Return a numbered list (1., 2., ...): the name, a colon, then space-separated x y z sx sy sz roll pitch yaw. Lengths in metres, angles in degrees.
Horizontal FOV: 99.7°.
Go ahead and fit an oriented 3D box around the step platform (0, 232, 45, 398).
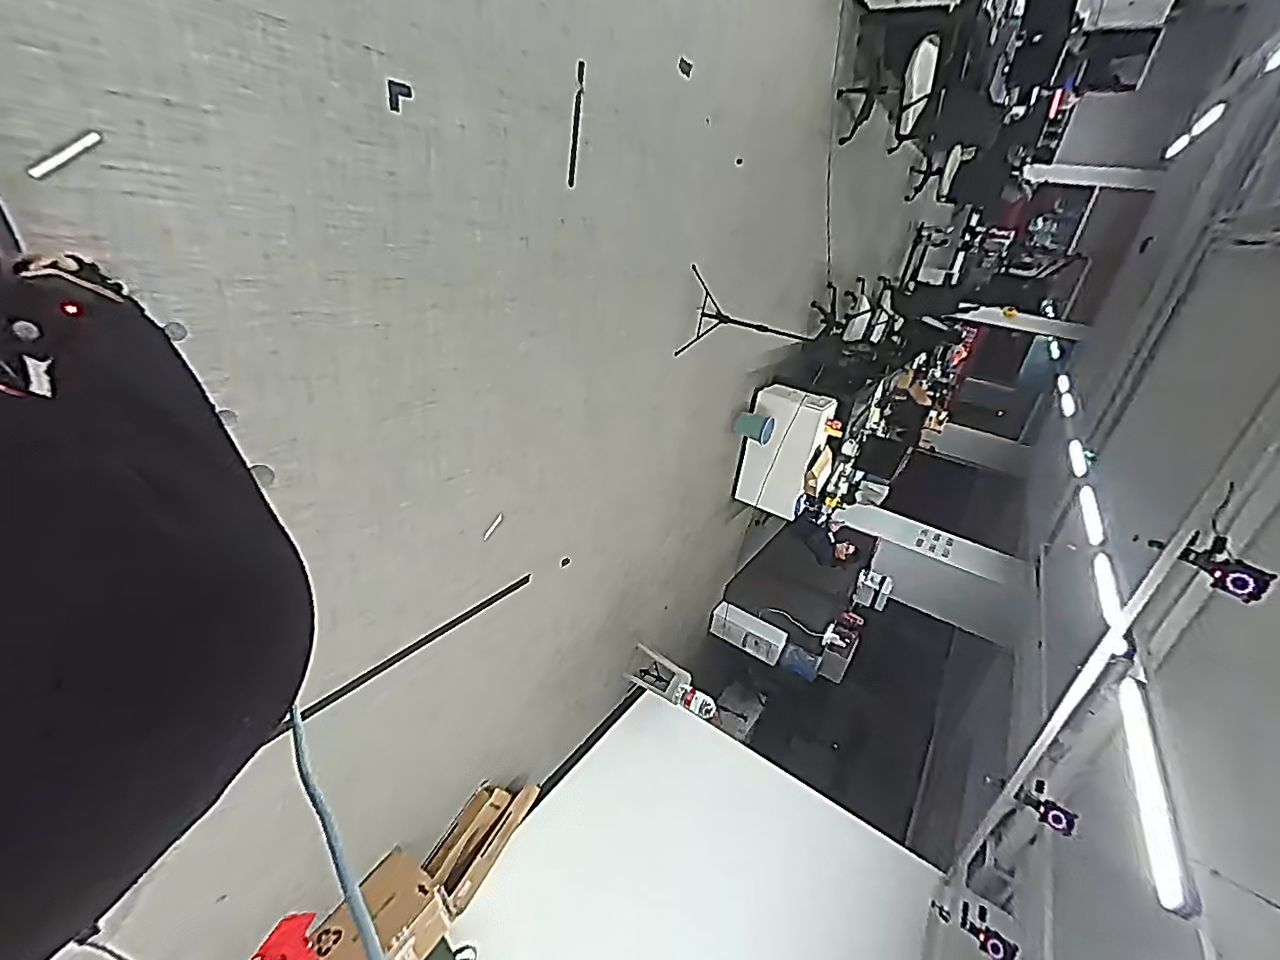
1. step platform: -1.301 -0.239 0.719 0.684 0.204 0.286 -20 125 -53
